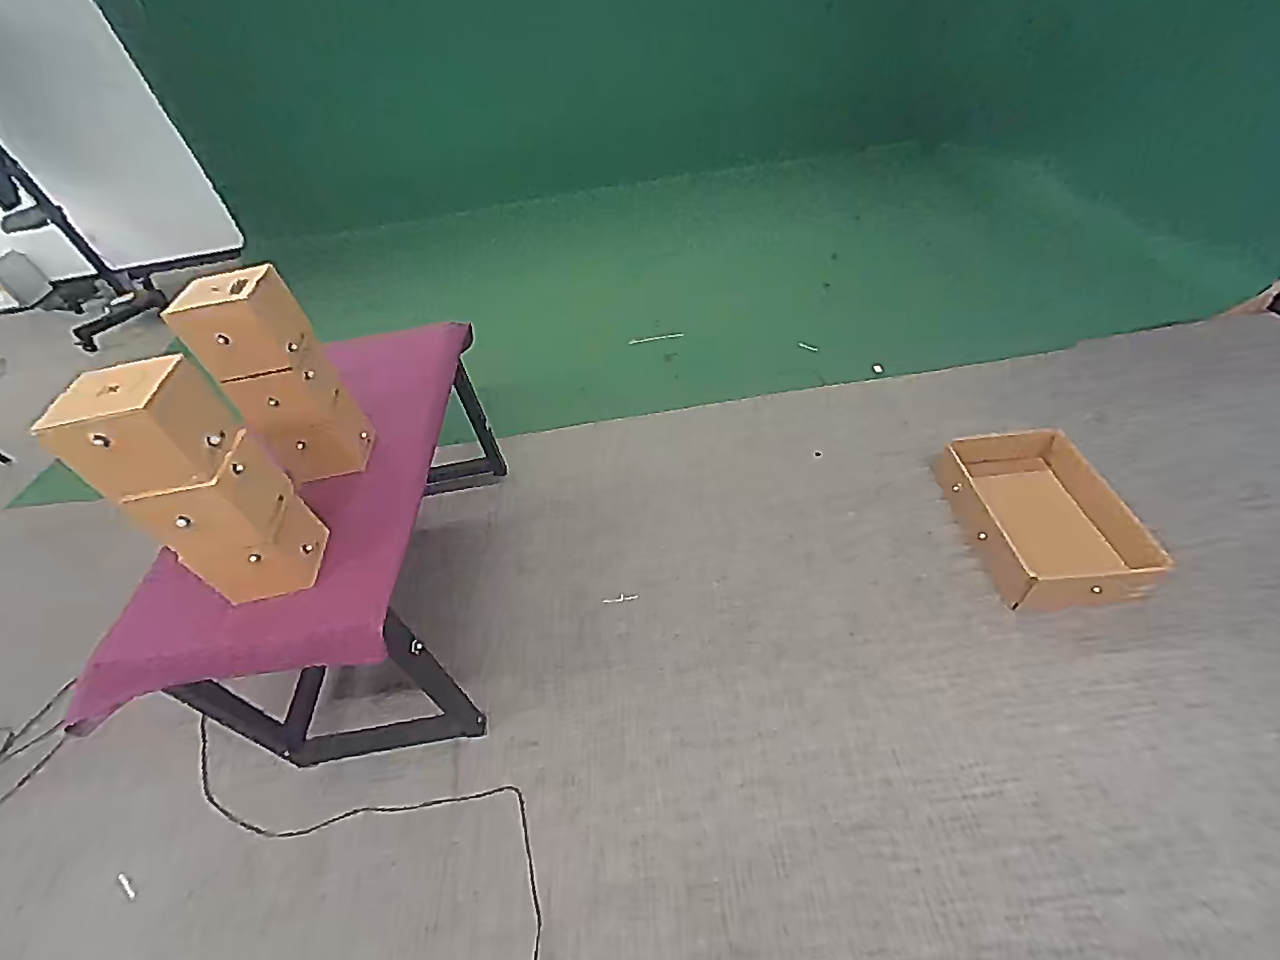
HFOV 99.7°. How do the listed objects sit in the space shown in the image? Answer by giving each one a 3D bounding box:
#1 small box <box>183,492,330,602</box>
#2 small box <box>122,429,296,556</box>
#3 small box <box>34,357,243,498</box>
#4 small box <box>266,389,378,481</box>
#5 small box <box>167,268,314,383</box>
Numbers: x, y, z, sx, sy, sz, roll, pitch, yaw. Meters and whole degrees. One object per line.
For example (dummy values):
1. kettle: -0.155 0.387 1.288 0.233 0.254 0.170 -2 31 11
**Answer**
1. small box: -0.821 0.145 1.179 0.179 0.176 0.168 -12 45 -2
2. small box: -0.828 0.029 1.063 0.179 0.176 0.168 -11 45 0
3. small box: -0.861 -0.089 0.953 0.179 0.176 0.168 -12 45 -3
4. small box: -0.832 -0.115 1.434 0.179 0.176 0.168 -10 46 0
5. small box: -0.866 -0.339 1.196 0.179 0.176 0.168 -12 45 0
